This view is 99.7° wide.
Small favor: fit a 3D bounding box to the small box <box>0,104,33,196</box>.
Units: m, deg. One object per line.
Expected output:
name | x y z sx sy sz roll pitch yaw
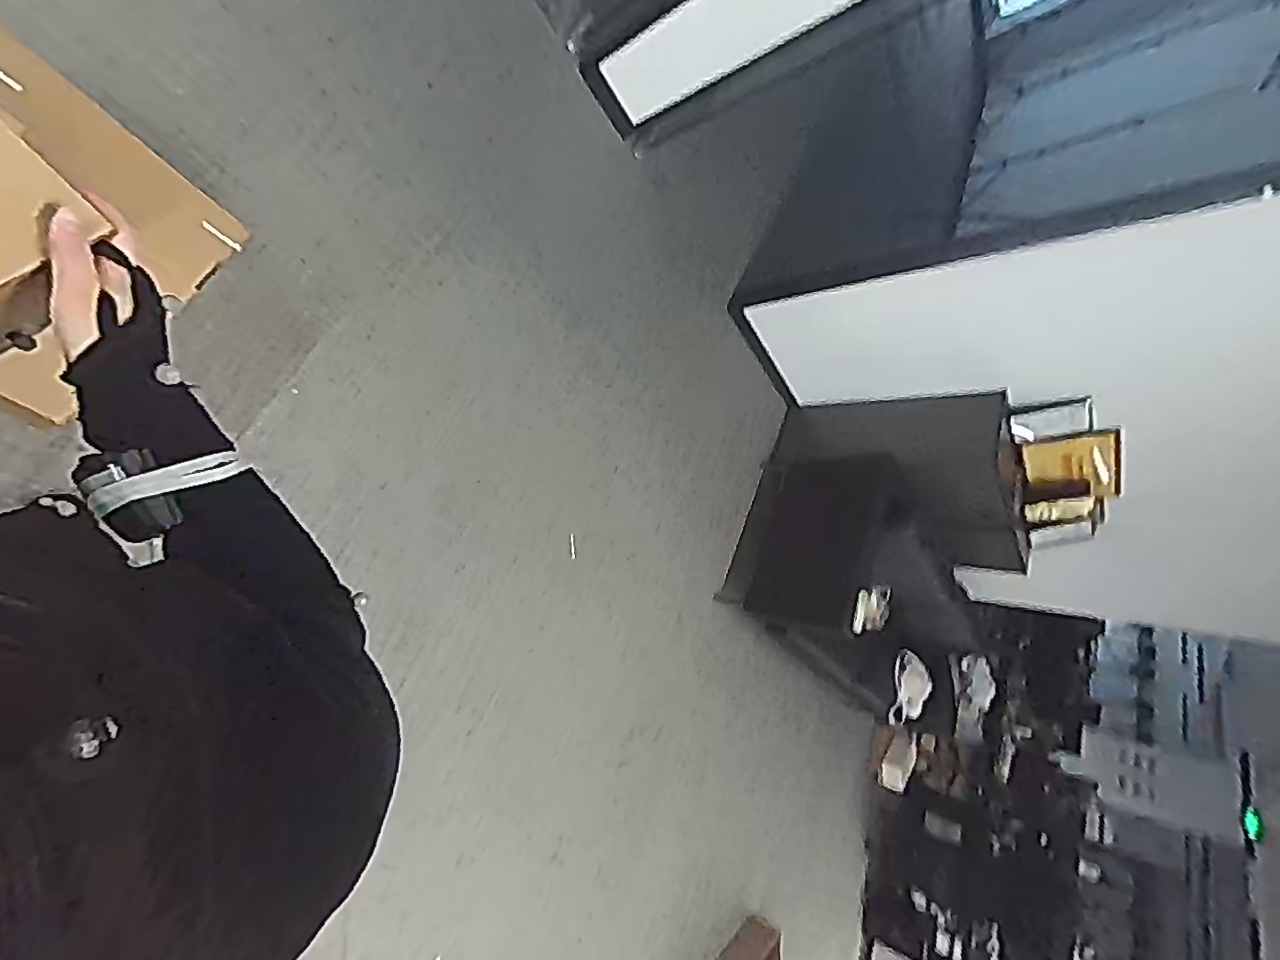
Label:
small box | -0.927 -0.435 0.672 0.179 0.176 0.168 43 59 -40
